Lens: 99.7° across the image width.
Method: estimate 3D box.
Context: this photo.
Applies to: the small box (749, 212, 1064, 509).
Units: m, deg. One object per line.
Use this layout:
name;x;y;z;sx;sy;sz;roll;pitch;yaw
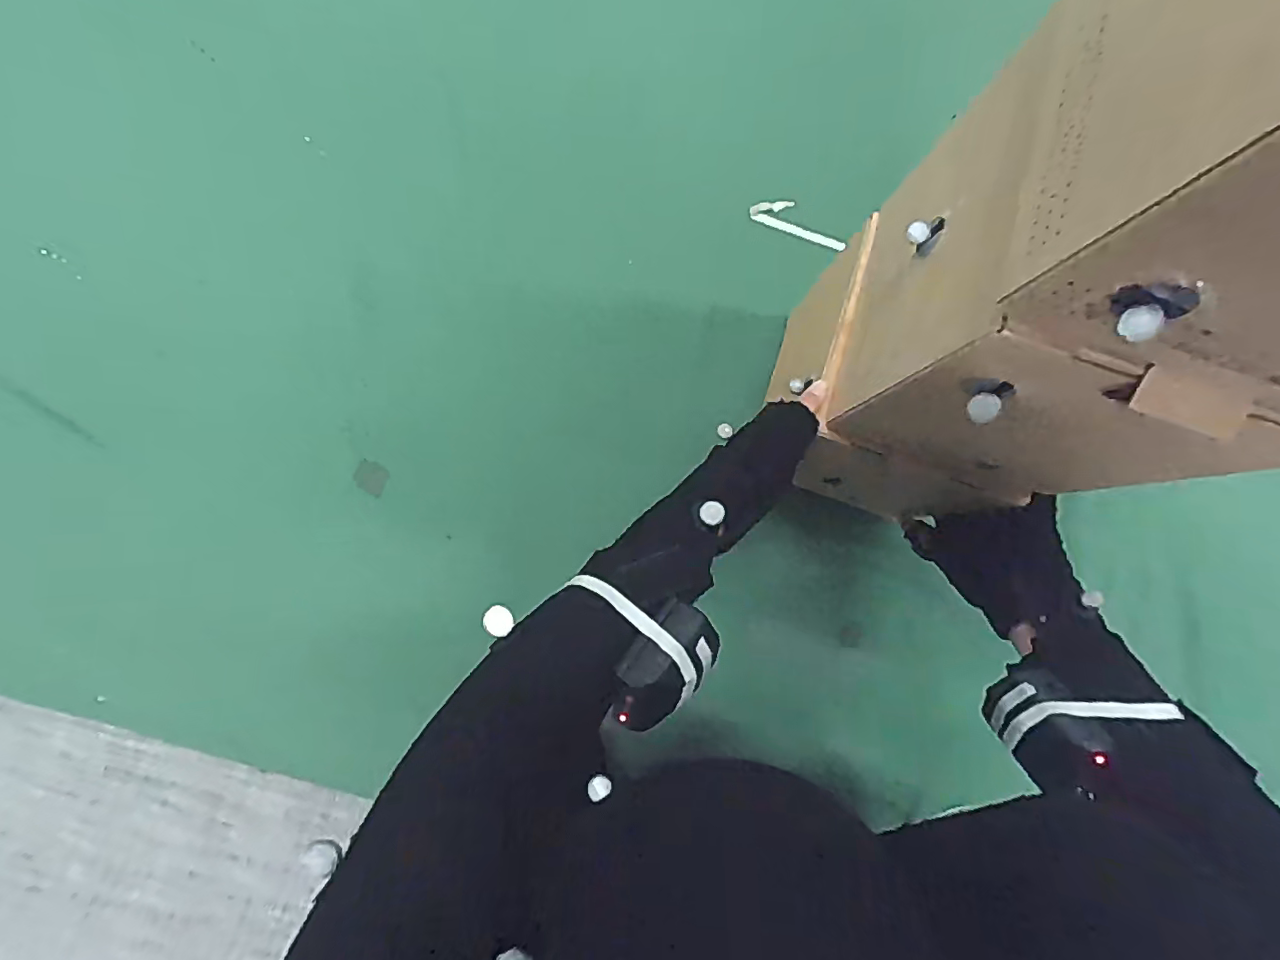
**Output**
small box;0.210;-0.083;0.469;0.168;0.176;0.179;18;83;-2
